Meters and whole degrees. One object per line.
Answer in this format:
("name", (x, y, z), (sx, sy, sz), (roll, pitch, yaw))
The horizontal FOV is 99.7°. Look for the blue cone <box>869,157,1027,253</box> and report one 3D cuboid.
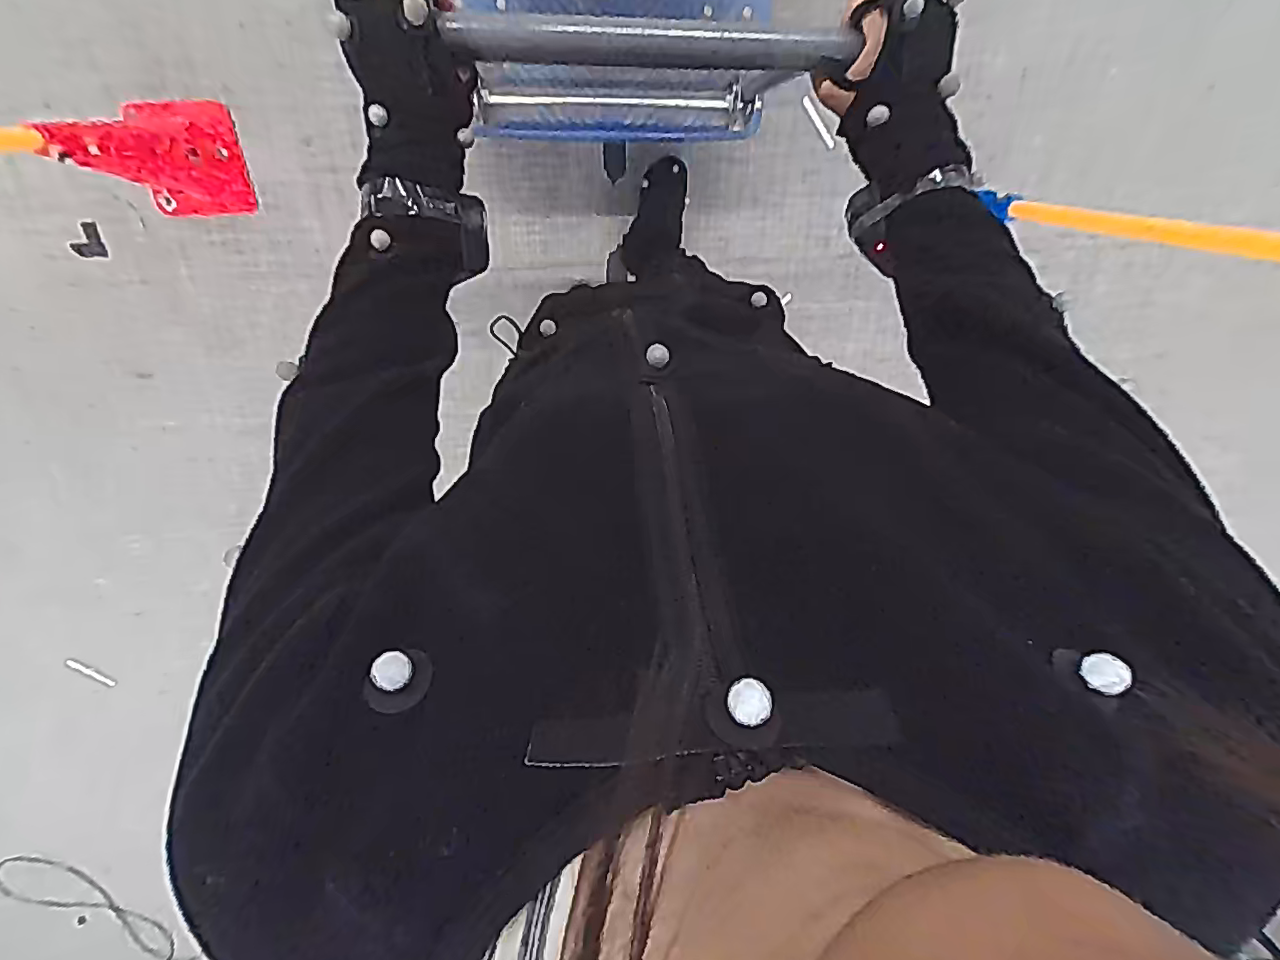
("blue cone", (0.646, -0.571, 1.117), (0.193, 0.380, 0.192), (-7, 115, -3))
